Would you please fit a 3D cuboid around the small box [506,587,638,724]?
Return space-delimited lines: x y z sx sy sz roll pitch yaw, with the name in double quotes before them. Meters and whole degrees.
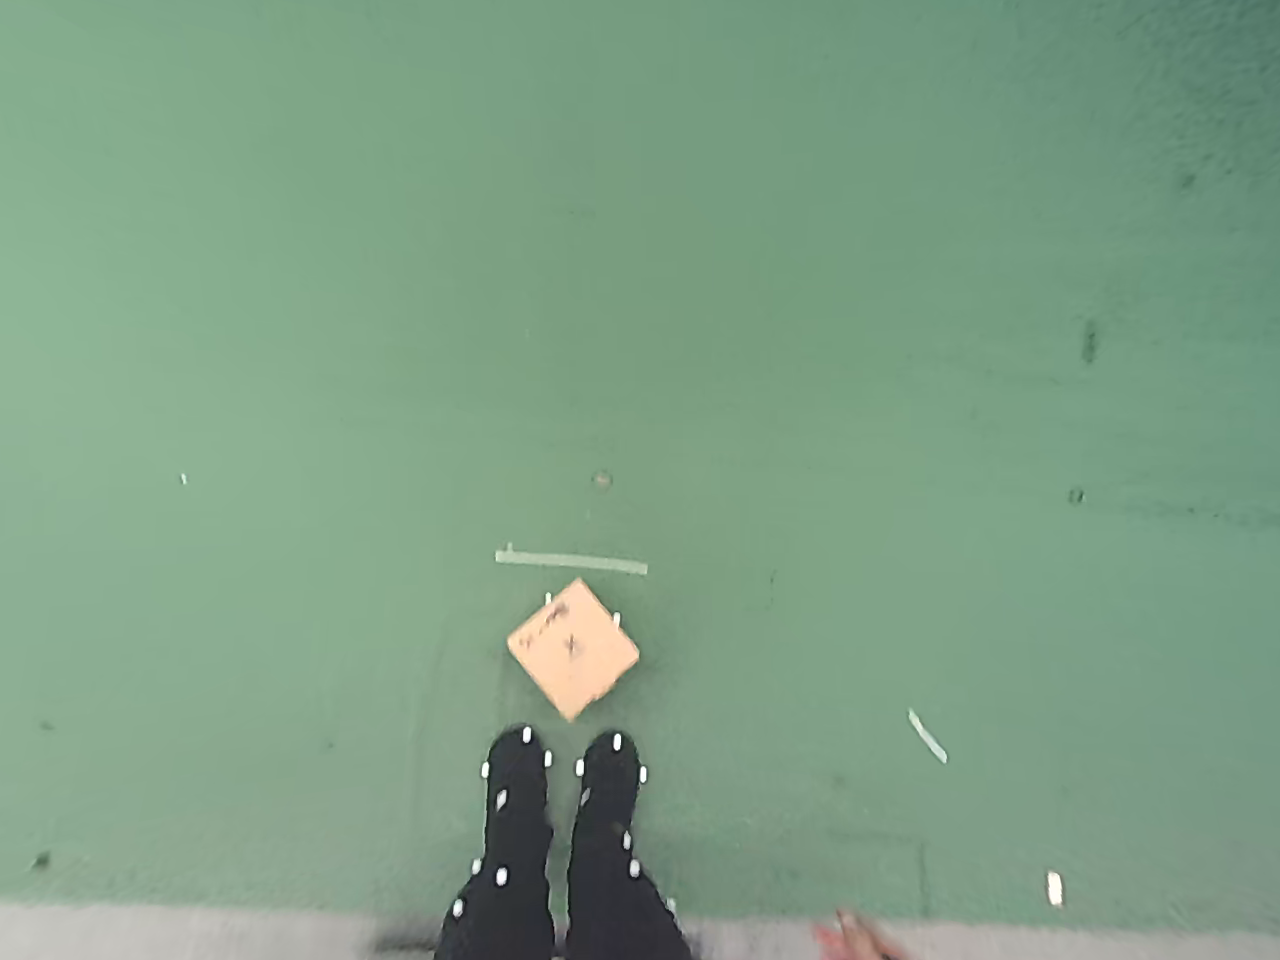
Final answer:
"small box" -0.125 0.316 1.016 0.168 0.176 0.179 -39 85 -12
